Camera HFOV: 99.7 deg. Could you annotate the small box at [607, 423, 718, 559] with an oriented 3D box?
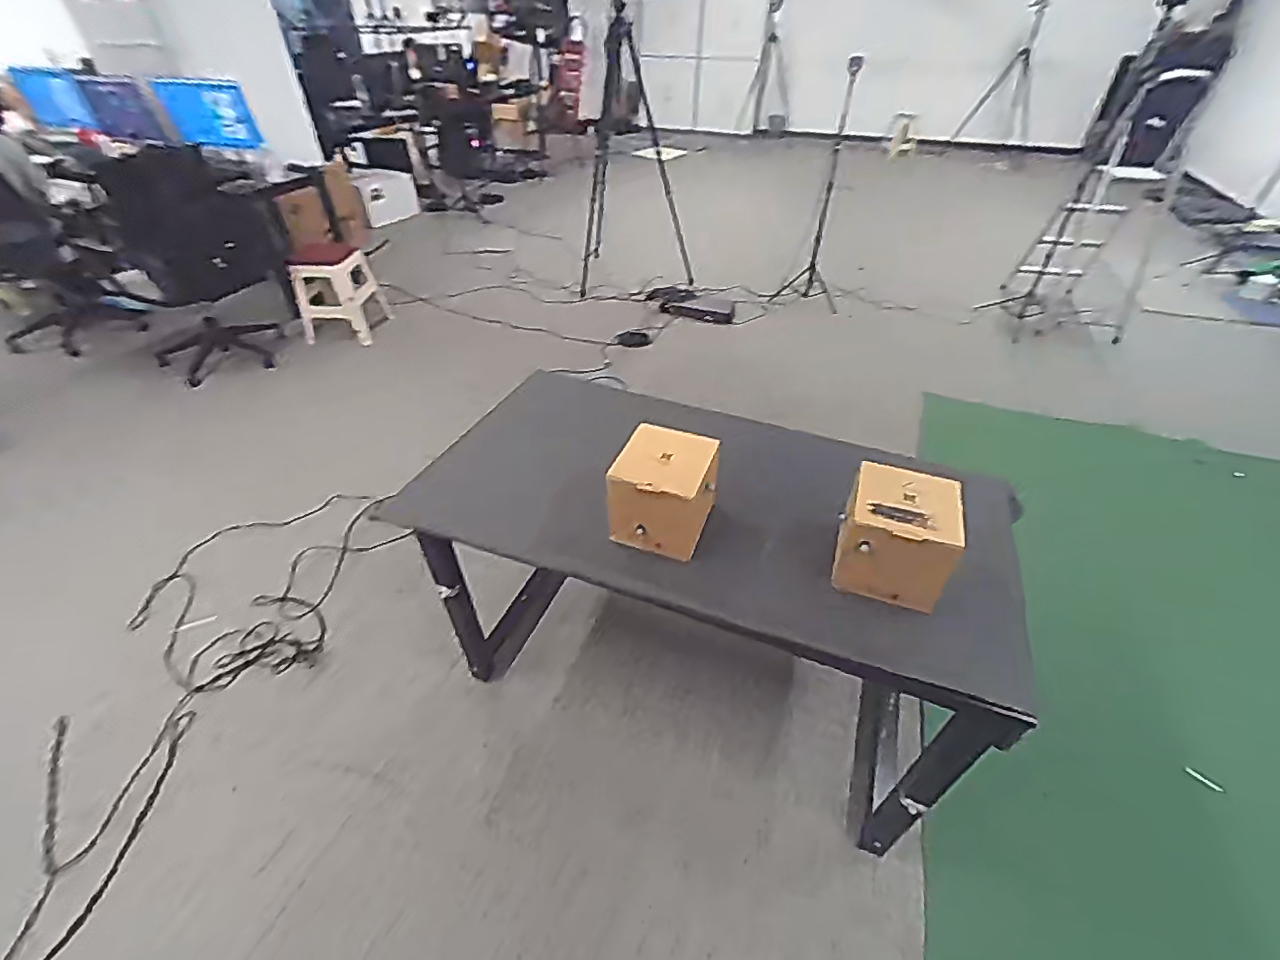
[{"bbox_3d":[0.042,0.020,1.046,0.168,0.176,0.179,15,43,15],"label":"small box"}]
